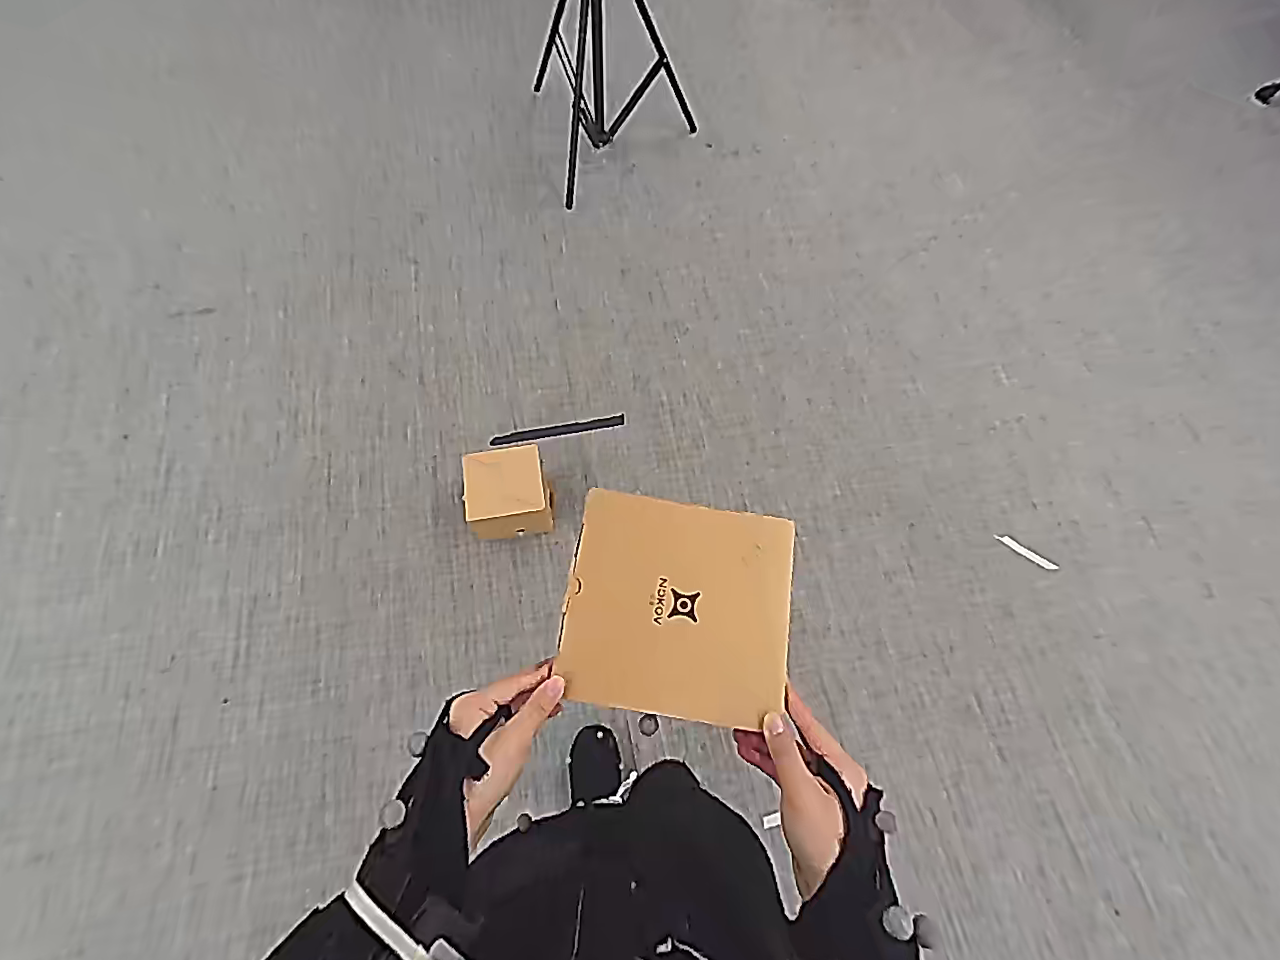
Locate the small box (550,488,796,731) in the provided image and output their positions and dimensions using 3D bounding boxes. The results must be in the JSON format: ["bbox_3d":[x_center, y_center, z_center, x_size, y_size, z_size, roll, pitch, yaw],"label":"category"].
[{"bbox_3d":[0.030,0.121,0.498,0.179,0.176,0.168,8,70,3],"label":"small box"}]

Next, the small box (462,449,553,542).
[{"bbox_3d":[-0.313,0.038,1.297,0.179,0.176,0.168,-8,68,-7],"label":"small box"}]
